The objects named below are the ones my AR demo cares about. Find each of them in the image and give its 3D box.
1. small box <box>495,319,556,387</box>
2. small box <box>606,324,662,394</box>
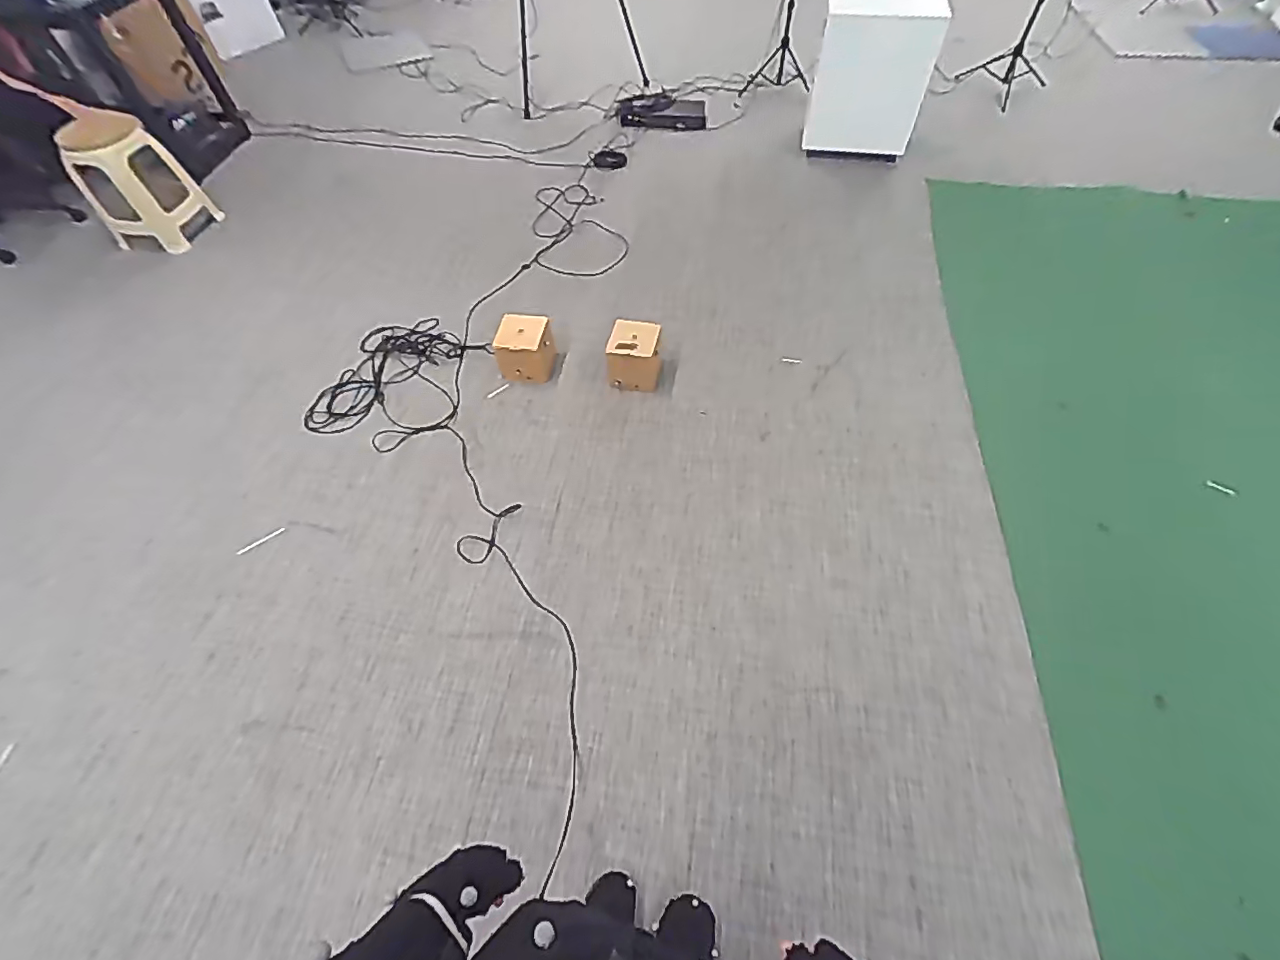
[{"bbox_3d":[-0.414,-0.468,1.993,0.168,0.176,0.179,5,57,6],"label":"small box"},{"bbox_3d":[-0.015,-0.435,1.952,0.168,0.176,0.179,9,56,9],"label":"small box"}]
